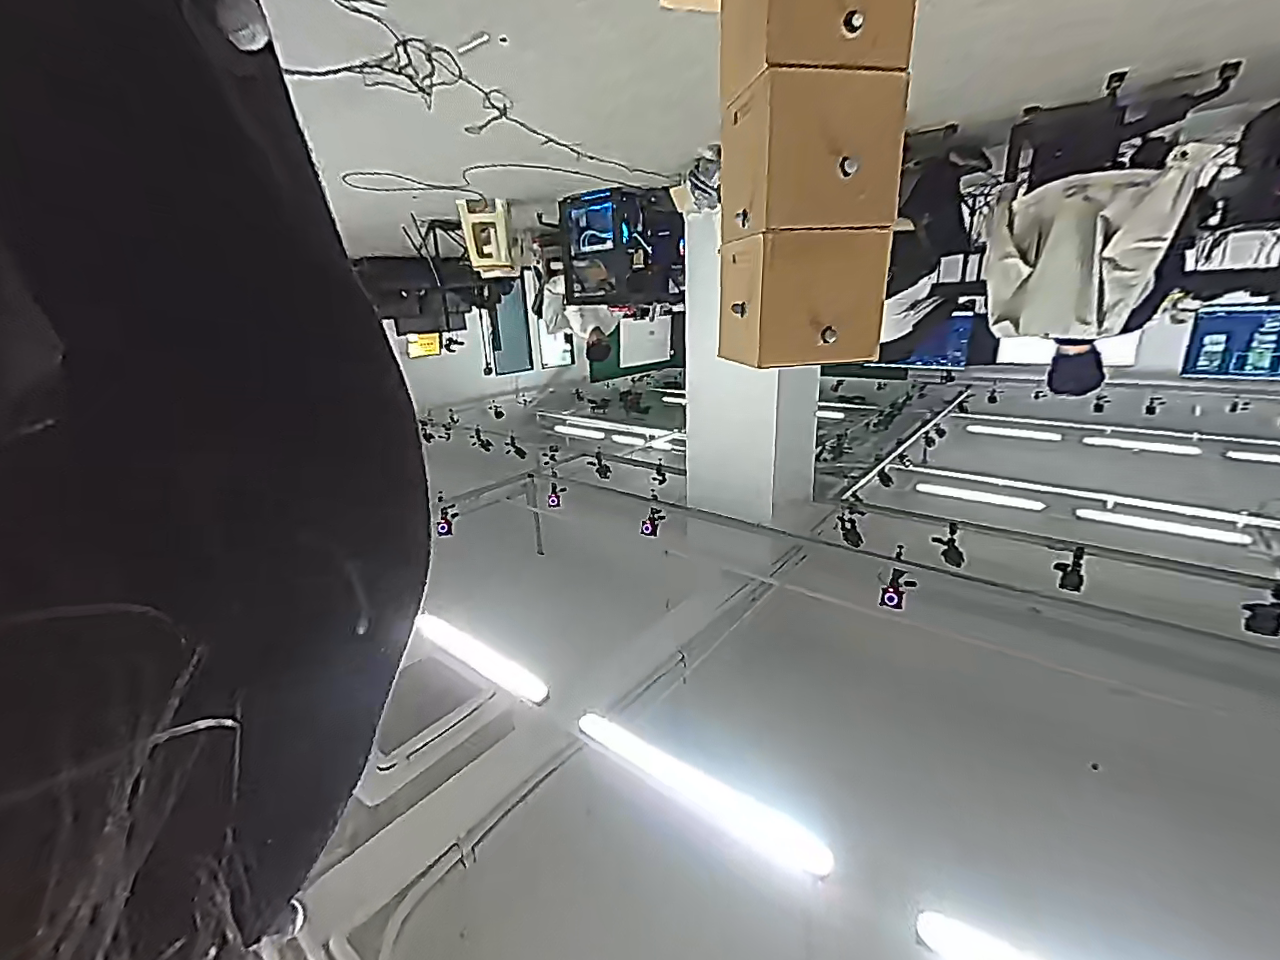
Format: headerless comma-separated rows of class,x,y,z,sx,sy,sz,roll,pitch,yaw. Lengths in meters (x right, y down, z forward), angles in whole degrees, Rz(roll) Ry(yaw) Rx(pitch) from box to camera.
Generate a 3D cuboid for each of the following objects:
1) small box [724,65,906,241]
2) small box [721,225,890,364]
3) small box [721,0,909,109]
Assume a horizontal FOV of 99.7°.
small box,0.217,-0.412,0.703,0.179,0.176,0.168,-7,-161,-9
small box,0.222,-0.259,0.759,0.179,0.176,0.168,-6,-161,-9
small box,0.206,-0.567,0.649,0.179,0.176,0.168,-5,-161,-9
